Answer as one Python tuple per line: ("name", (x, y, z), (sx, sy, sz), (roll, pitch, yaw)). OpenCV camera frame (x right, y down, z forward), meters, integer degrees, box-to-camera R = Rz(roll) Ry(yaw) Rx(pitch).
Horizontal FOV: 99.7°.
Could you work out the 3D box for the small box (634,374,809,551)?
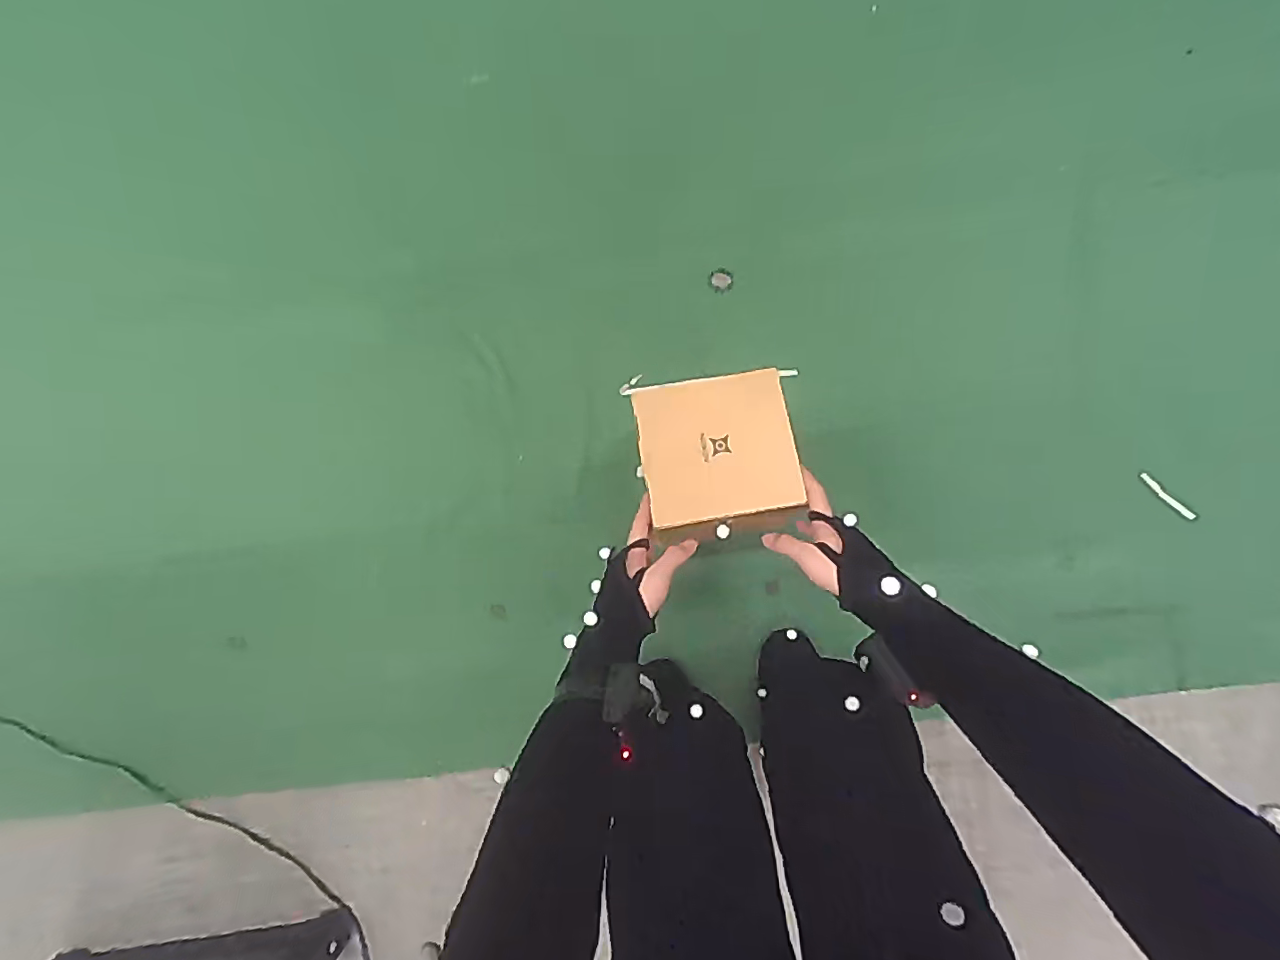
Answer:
("small box", (0.095, -0.012, 0.687), (0.179, 0.176, 0.168), (-10, 72, 3))
